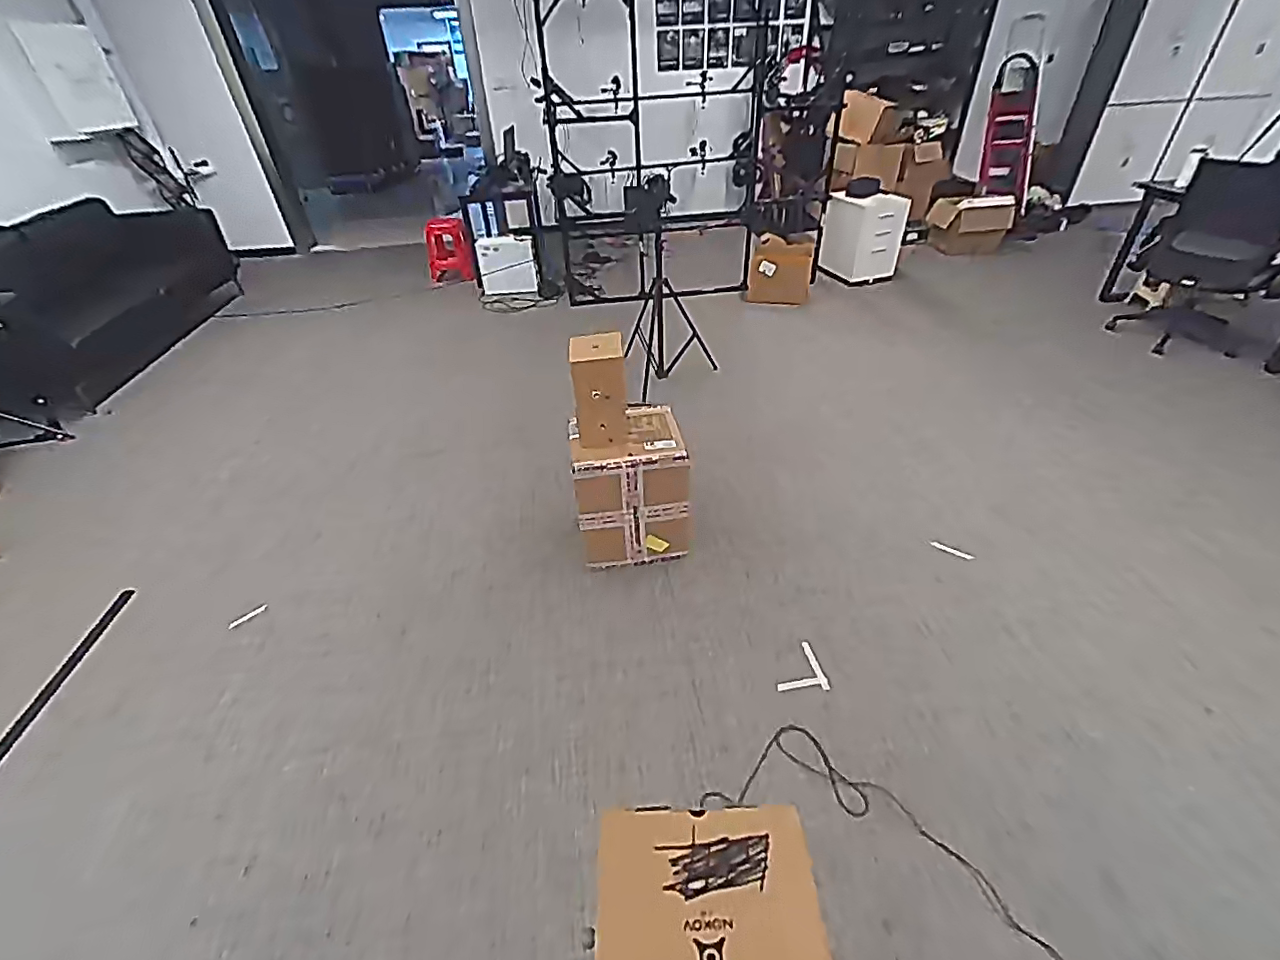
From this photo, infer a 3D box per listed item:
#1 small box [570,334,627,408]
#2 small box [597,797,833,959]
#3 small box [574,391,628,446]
[{"bbox_3d":[-0.133,-0.352,1.752,0.168,0.176,0.179,-7,41,-1],"label":"small box"},{"bbox_3d":[0.049,0.381,0.430,0.168,0.176,0.179,-1,40,-2],"label":"small box"},{"bbox_3d":[-0.133,-0.230,1.862,0.168,0.176,0.179,-6,40,-2],"label":"small box"}]
